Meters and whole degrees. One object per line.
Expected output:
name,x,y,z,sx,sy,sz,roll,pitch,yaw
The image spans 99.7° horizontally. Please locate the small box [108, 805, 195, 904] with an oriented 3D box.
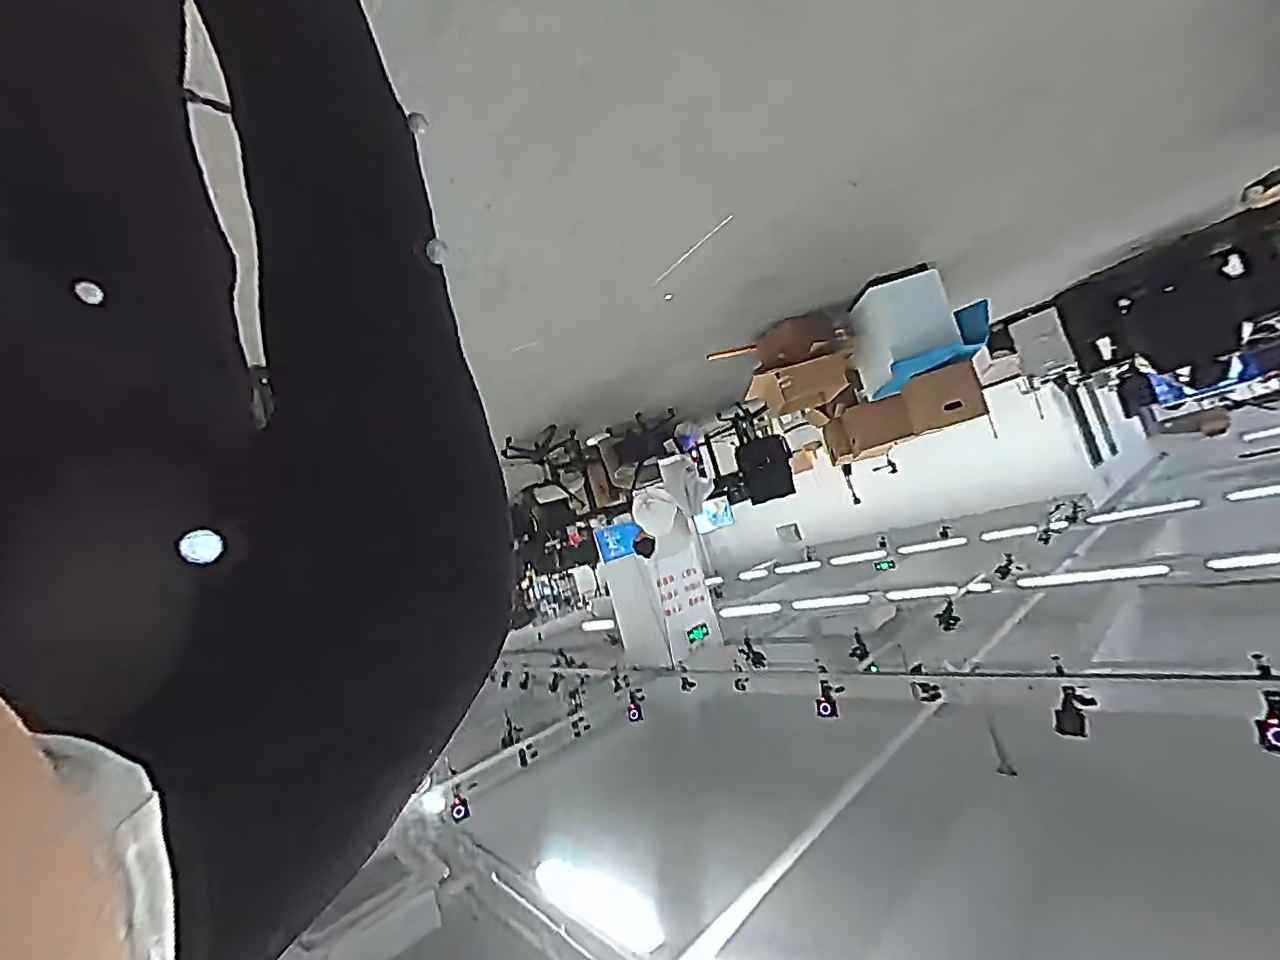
small box,-1.499,1.138,1.662,0.179,0.176,0.168,-13,173,-38
